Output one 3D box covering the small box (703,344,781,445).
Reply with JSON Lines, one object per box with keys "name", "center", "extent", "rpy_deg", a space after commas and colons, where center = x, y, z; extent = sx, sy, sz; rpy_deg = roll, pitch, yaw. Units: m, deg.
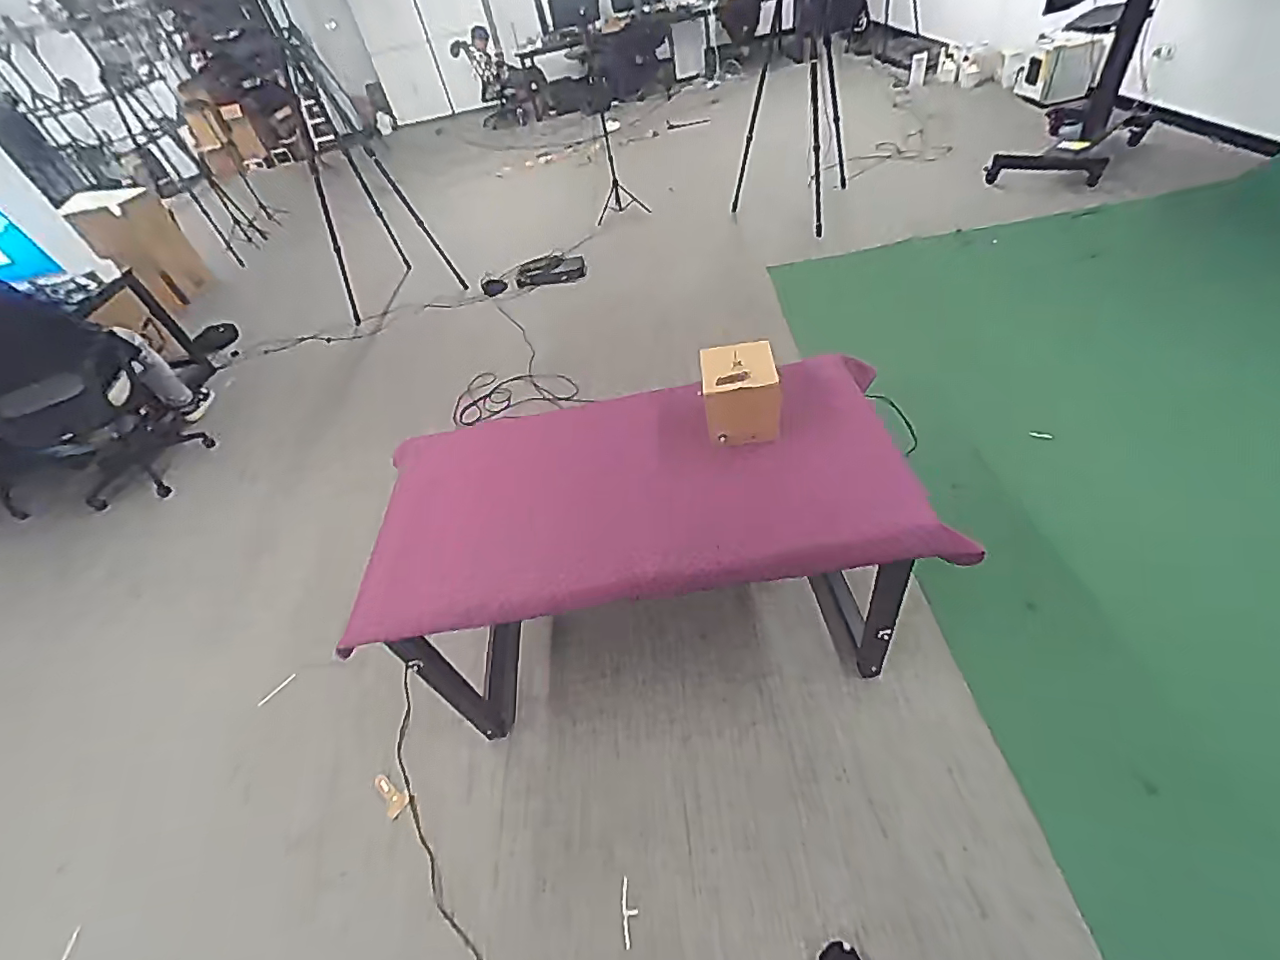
{"name": "small box", "center": [0.242, -0.195, 1.285], "extent": [0.168, 0.176, 0.179], "rpy_deg": [-6, 45, 9]}
